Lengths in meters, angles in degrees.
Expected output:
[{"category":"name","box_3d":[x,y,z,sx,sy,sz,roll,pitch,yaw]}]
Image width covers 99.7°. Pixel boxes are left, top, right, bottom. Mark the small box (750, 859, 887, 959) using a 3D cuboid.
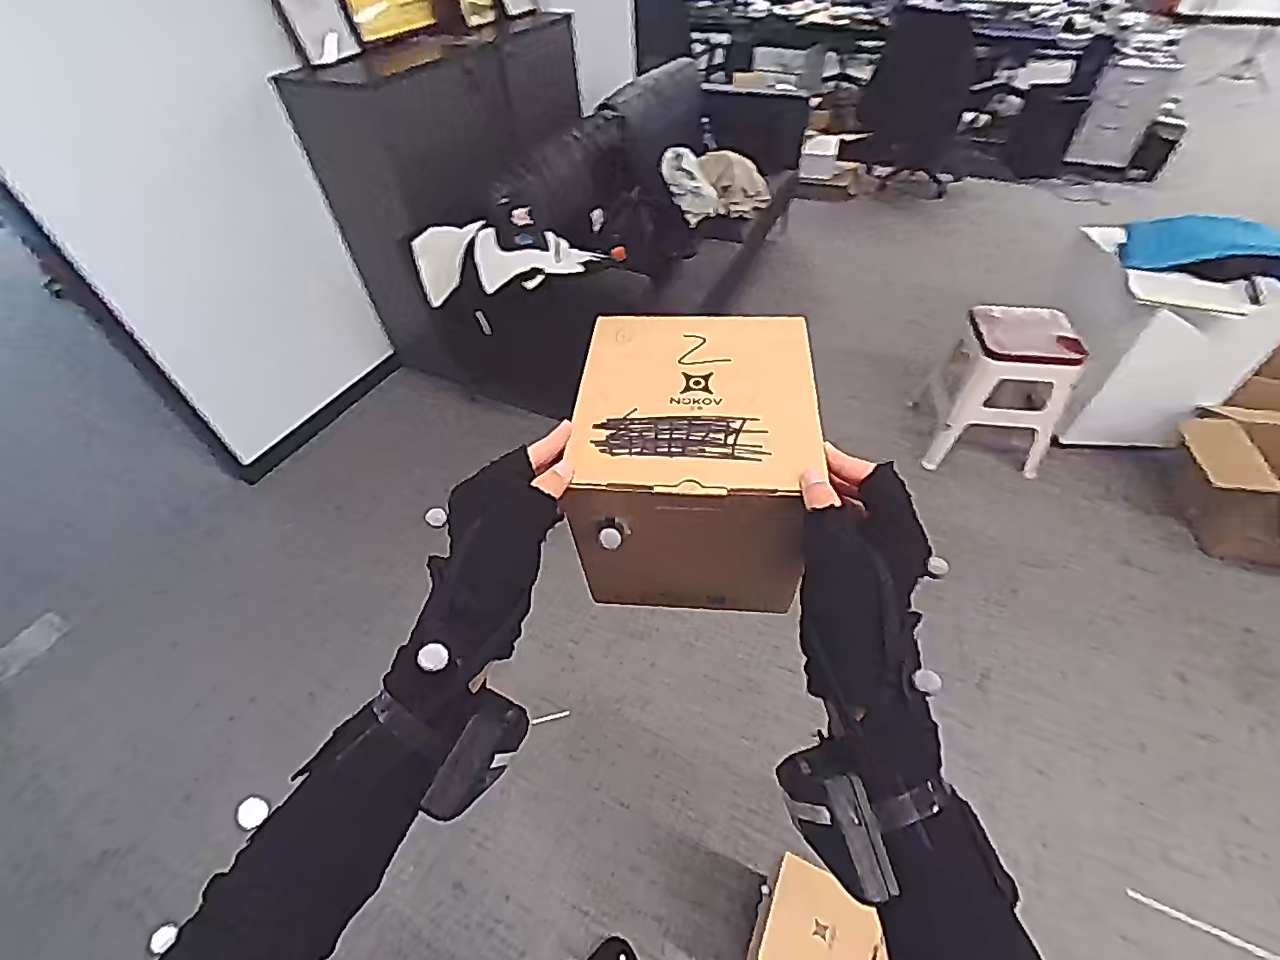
[{"category":"small box","box_3d":[0.298,0.796,0.928,0.179,0.176,0.168,18,51,19]}]
